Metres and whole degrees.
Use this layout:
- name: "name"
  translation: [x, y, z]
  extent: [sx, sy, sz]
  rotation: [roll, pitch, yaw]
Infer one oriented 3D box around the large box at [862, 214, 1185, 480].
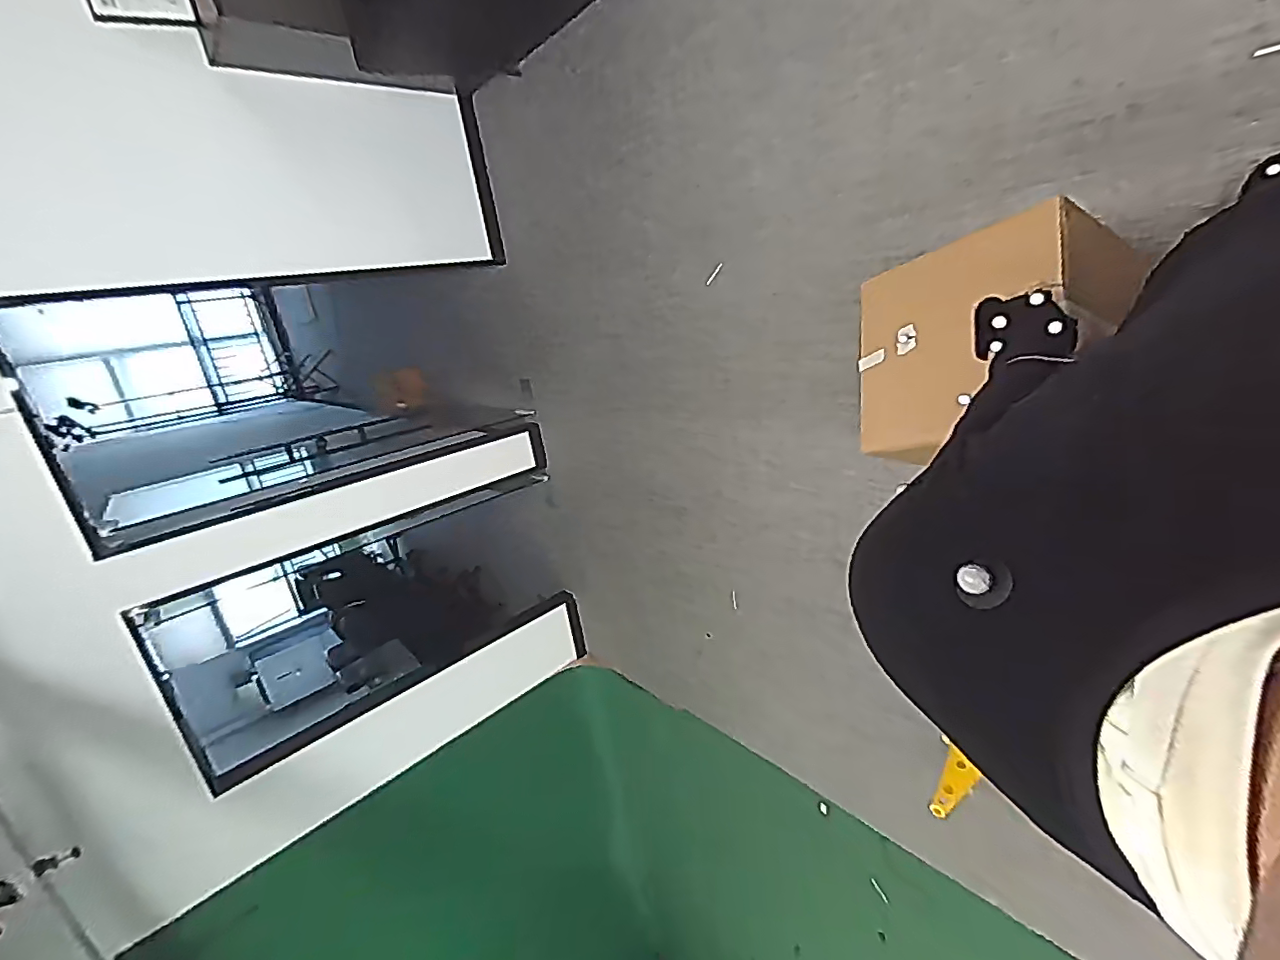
- name: "large box"
  translation: [0.638, -0.177, 0.924]
  extent: [0.320, 0.408, 0.320]
  rotation: [-8, 78, 59]
